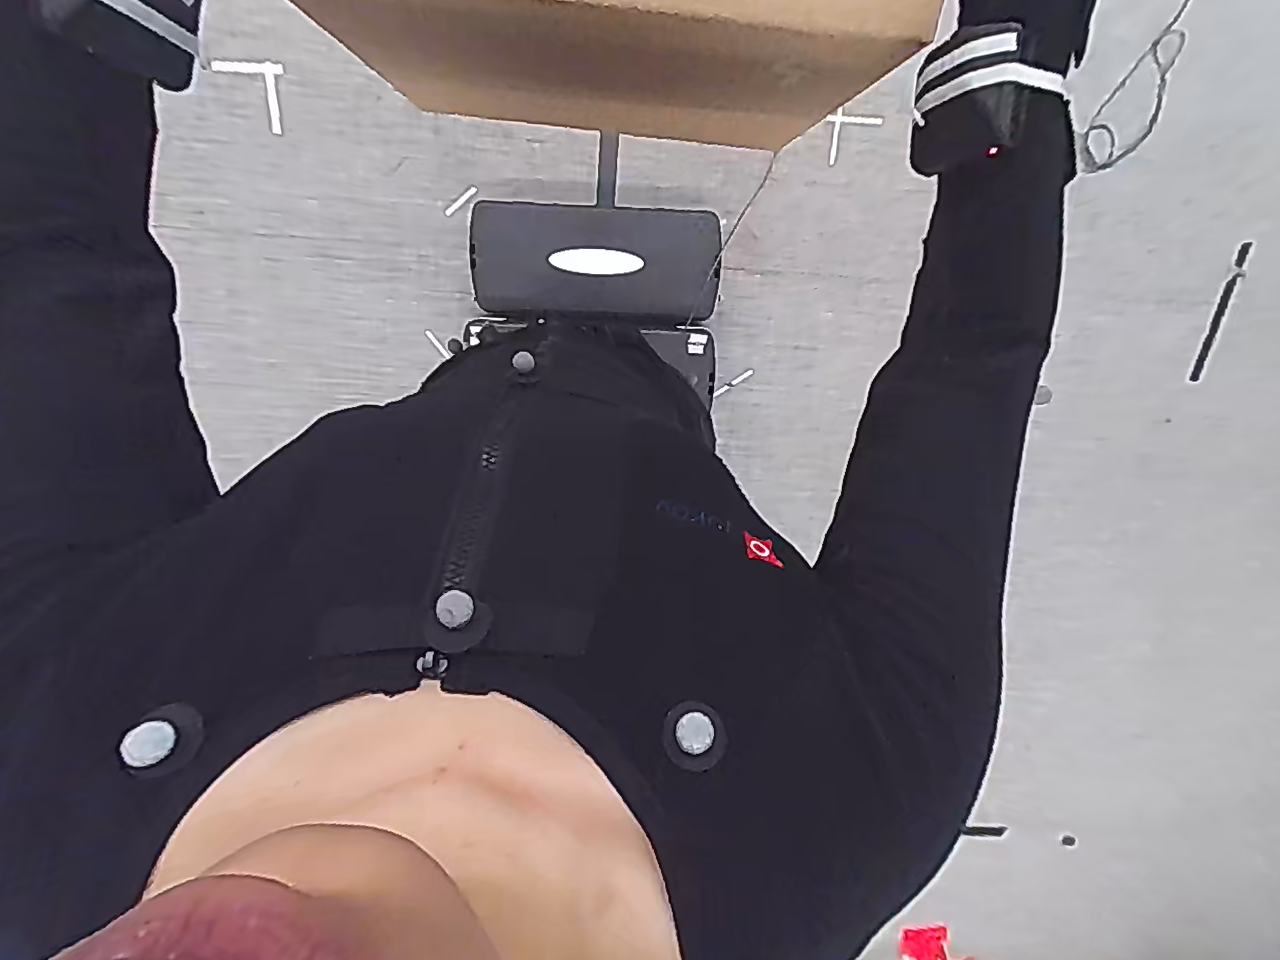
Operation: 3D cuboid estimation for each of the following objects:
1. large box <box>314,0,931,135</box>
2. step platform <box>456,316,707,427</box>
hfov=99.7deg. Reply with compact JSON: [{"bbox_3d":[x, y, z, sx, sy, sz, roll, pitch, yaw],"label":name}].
[{"bbox_3d":[-0.020,-0.483,0.407,0.408,0.320,0.320,2,112,-5],"label":"large box"},{"bbox_3d":[-0.155,-0.303,1.512,0.684,0.204,0.286,1,107,-1],"label":"step platform"}]
